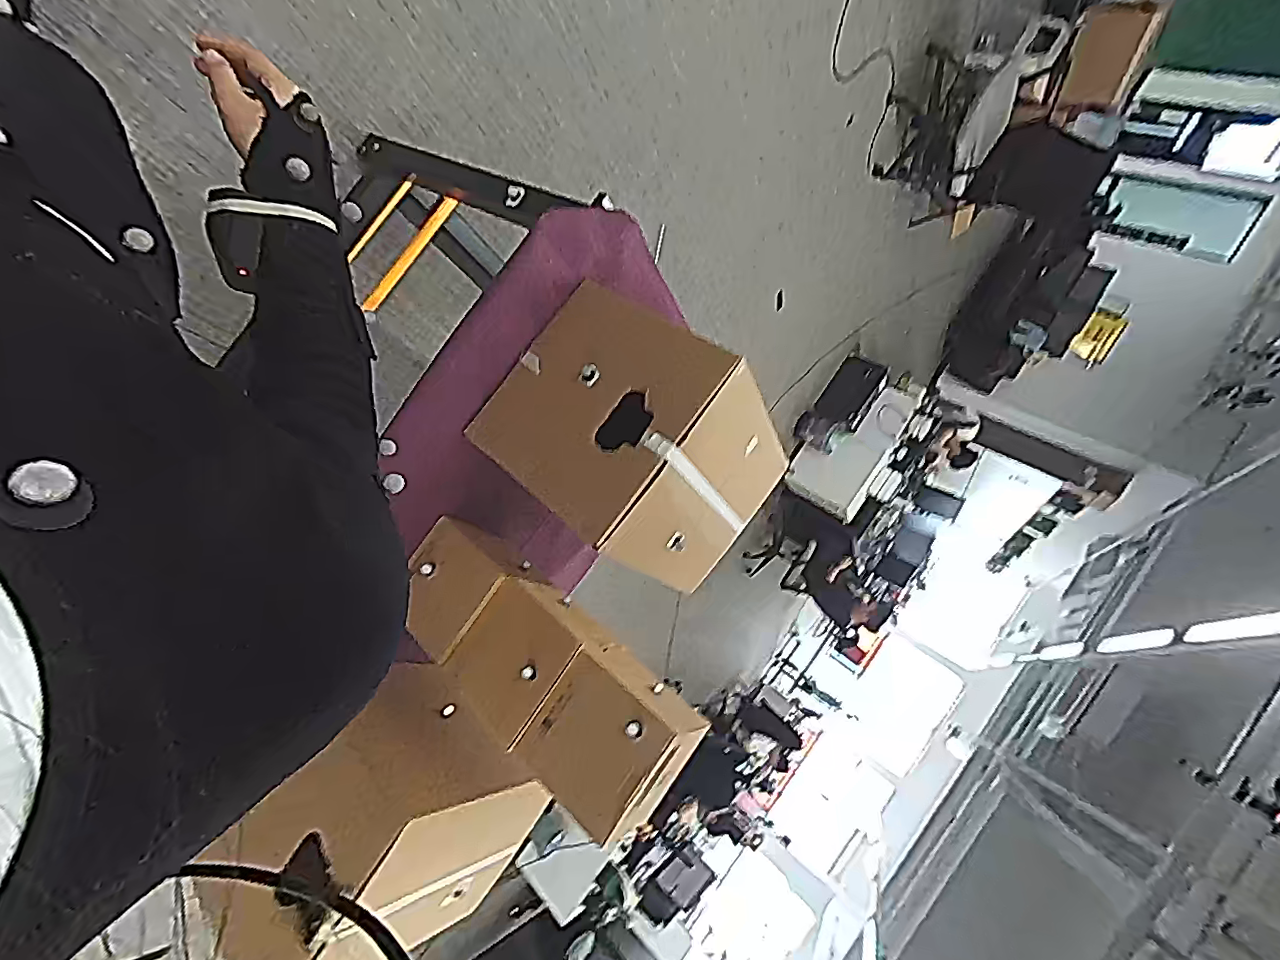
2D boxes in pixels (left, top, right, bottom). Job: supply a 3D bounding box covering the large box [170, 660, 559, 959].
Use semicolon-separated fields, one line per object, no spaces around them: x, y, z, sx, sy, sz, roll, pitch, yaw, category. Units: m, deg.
-0.416;0.517;0.886;0.320;0.320;0.408;-54;152;-3;large box
